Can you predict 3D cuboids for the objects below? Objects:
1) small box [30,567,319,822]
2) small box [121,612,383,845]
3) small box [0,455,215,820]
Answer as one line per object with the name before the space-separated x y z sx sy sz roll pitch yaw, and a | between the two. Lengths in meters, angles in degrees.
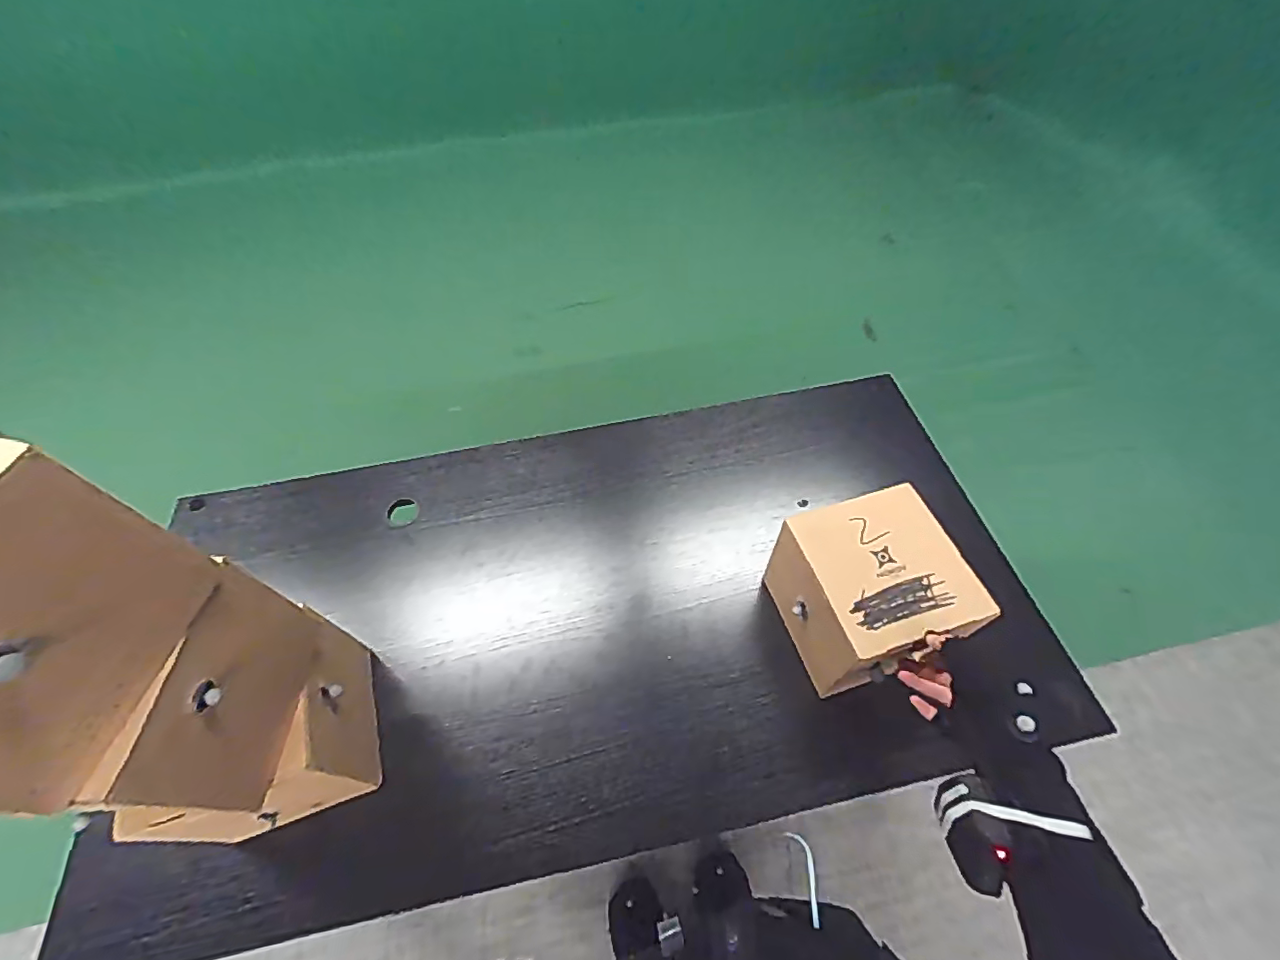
small box | -0.414 0.187 0.462 0.168 0.176 0.179 0 56 1
small box | -0.406 0.277 0.599 0.168 0.176 0.179 -18 59 -10
small box | -0.421 0.091 0.328 0.168 0.176 0.179 10 59 7
